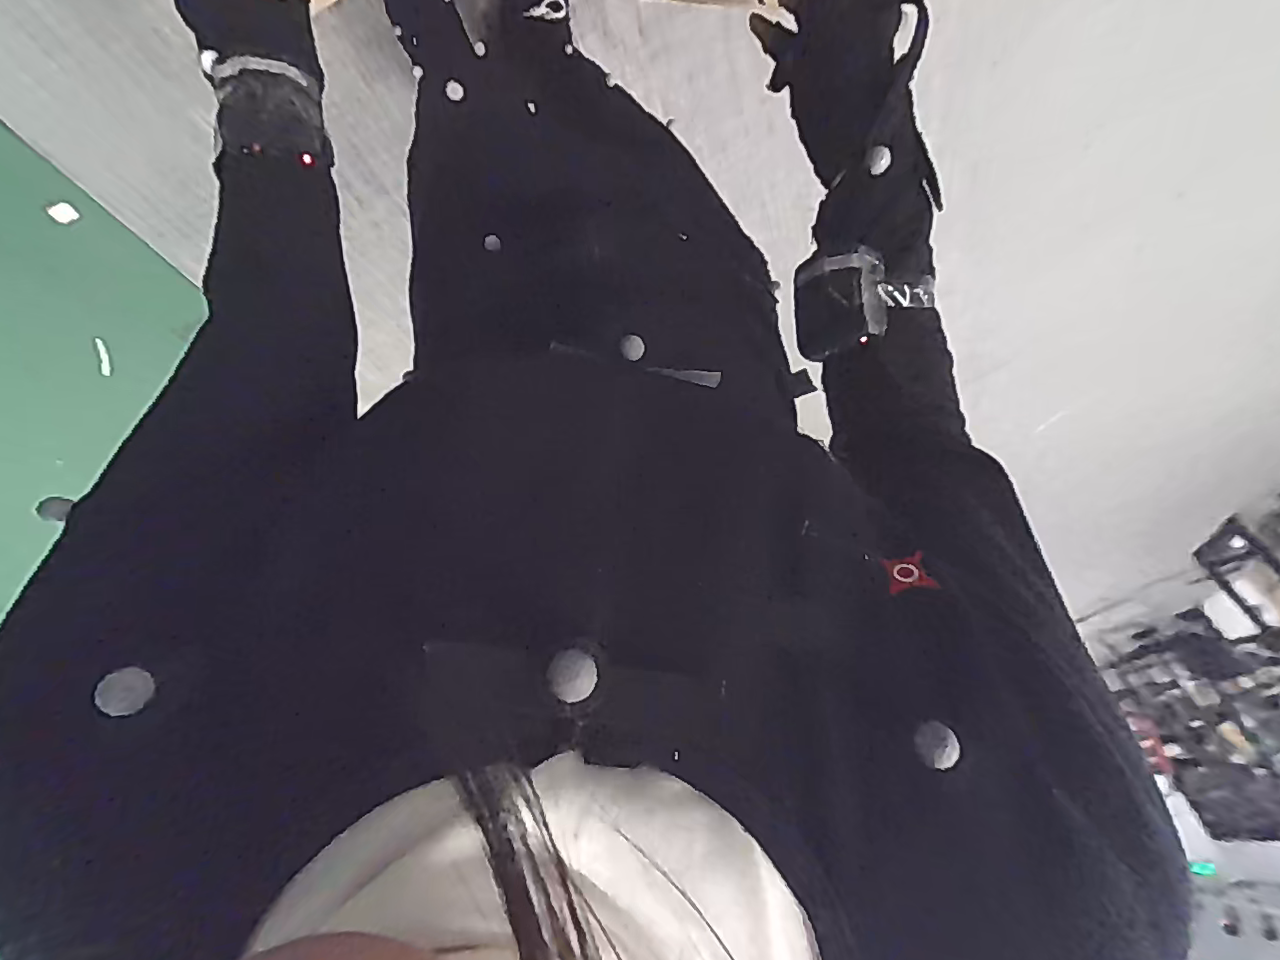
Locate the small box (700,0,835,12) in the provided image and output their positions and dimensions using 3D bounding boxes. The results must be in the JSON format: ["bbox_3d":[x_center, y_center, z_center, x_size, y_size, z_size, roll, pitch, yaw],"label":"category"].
[{"bbox_3d":[0.085,-0.419,0.329,0.168,0.176,0.179,-3,118,-8],"label":"small box"}]
